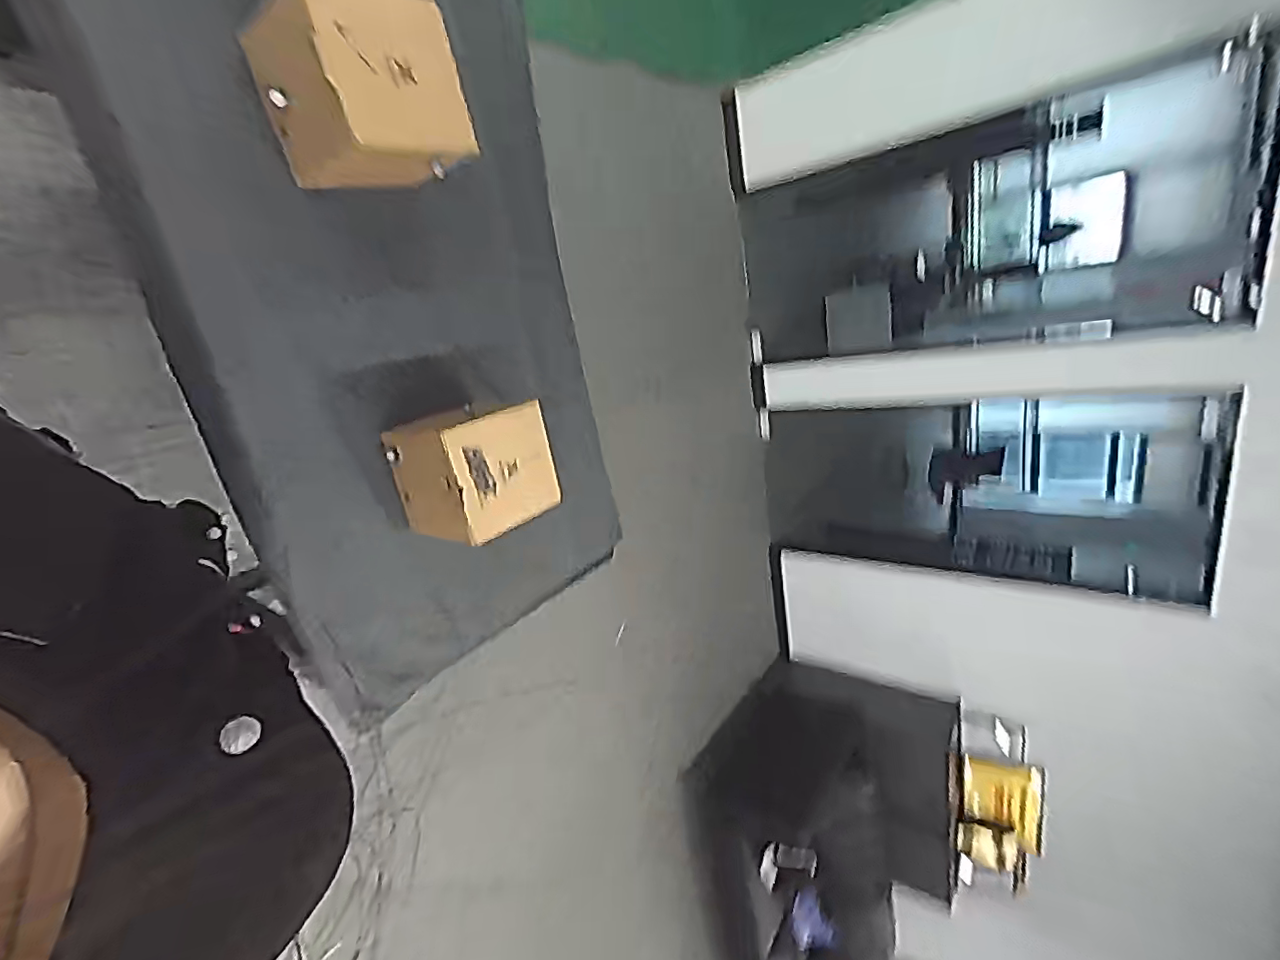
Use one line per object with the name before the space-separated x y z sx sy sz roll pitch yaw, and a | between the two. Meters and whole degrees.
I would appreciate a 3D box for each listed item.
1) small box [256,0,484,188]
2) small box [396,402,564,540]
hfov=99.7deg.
small box | -0.339 -0.485 0.690 0.179 0.176 0.168 -34 118 -45
small box | -0.251 -0.020 0.841 0.179 0.176 0.168 -30 116 -48
